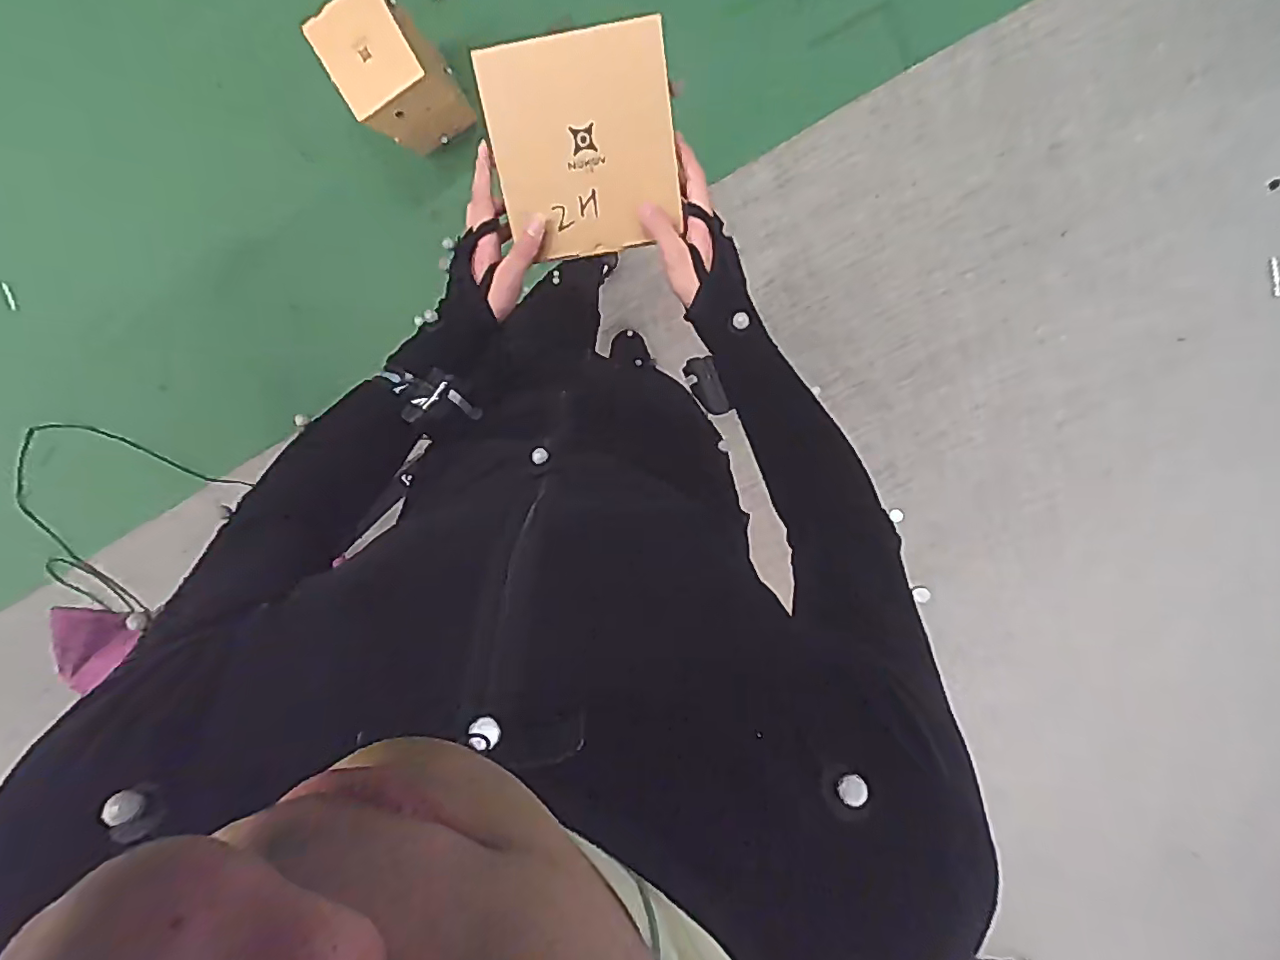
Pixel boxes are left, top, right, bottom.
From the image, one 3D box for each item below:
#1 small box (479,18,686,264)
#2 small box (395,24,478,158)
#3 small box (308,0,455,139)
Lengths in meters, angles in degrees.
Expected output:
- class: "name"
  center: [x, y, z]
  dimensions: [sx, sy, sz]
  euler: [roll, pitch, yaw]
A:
- class: "small box"
  center: [-0.047, -0.330, 0.561]
  dimensions: [0.168, 0.176, 0.179]
  euler: [-7, 114, 4]
- class: "small box"
  center: [-0.505, -0.880, 1.244]
  dimensions: [0.168, 0.176, 0.179]
  euler: [-26, 109, 12]
- class: "small box"
  center: [-0.508, -0.824, 1.093]
  dimensions: [0.168, 0.176, 0.179]
  euler: [-26, 107, 12]
